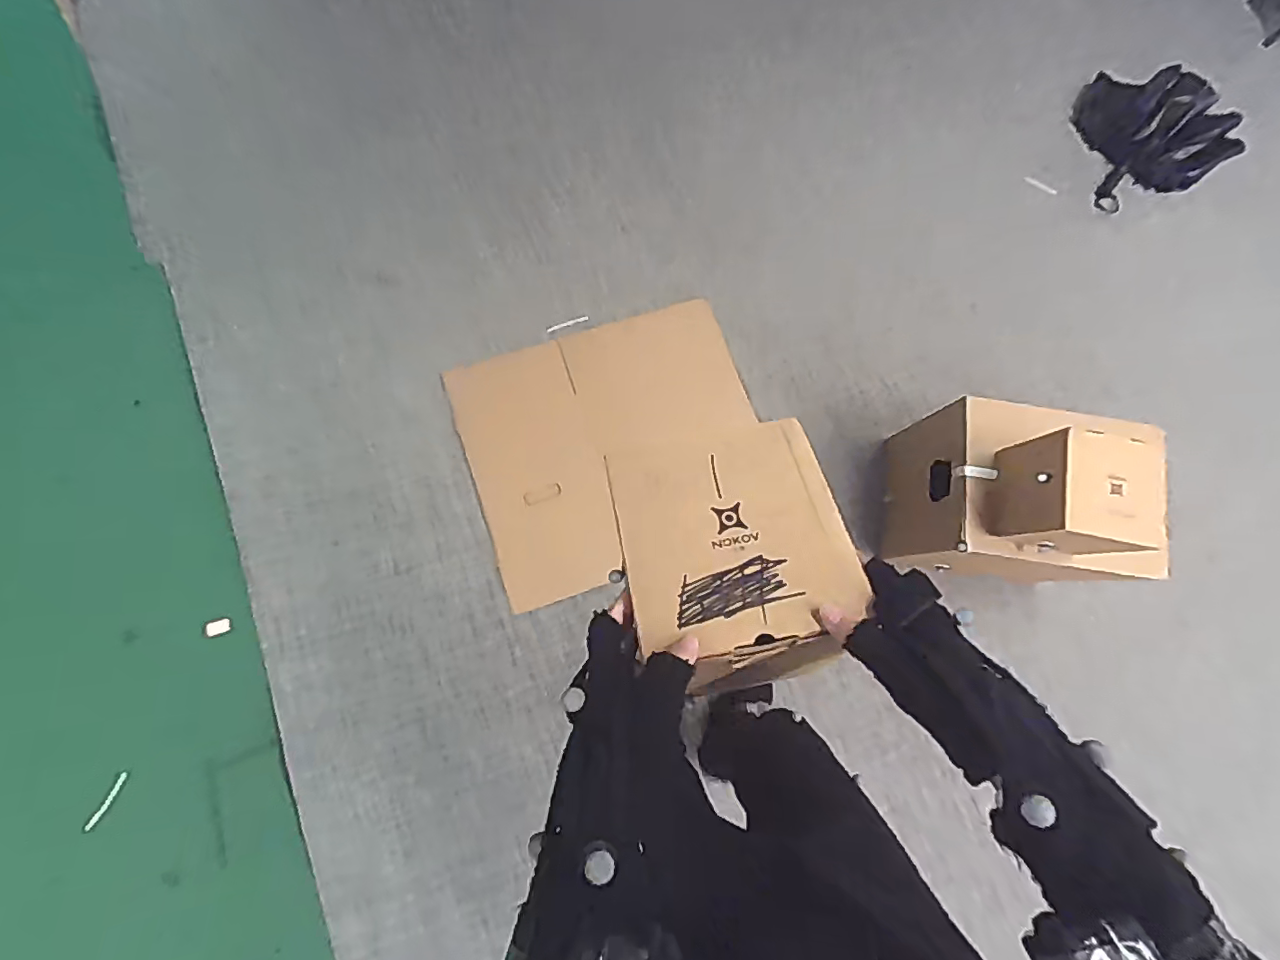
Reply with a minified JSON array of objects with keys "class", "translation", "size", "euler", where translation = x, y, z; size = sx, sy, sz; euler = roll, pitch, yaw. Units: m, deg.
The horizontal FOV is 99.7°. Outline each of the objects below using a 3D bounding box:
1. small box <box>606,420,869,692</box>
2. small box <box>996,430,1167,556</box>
[{"class":"small box","translation":[0.071,0.077,0.479],"size":[0.168,0.176,0.179],"euler":[-11,58,-2]},{"class":"small box","translation":[0.757,0.030,0.944],"size":[0.168,0.176,0.179],"euler":[10,79,0]}]
